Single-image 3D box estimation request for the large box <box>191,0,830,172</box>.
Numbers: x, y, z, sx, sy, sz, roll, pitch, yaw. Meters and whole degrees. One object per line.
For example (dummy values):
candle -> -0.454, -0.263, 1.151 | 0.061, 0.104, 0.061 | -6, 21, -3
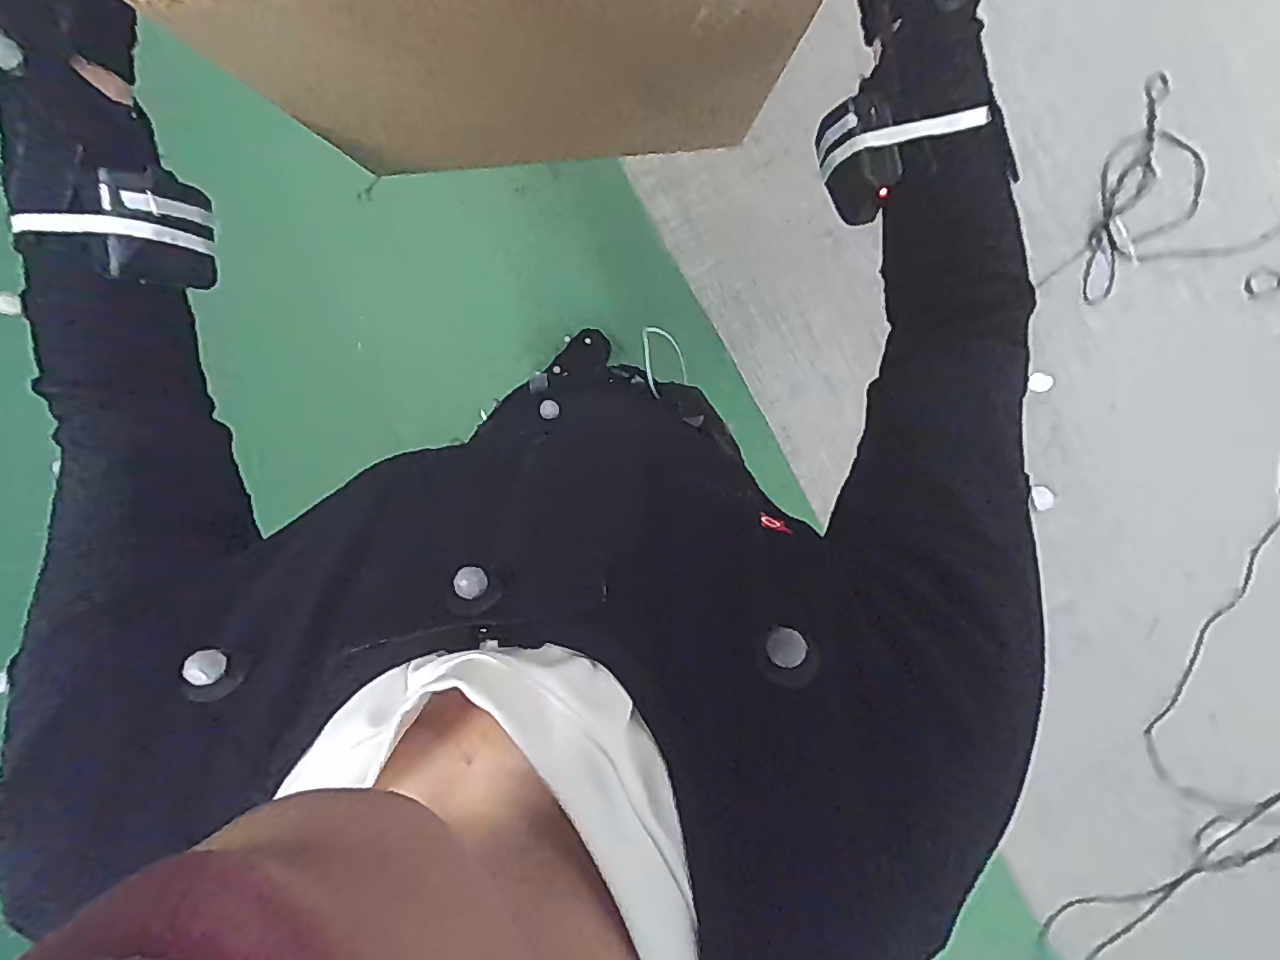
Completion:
large box -> -0.084, -0.466, 0.414 | 0.408, 0.320, 0.320 | -5, 104, -2
